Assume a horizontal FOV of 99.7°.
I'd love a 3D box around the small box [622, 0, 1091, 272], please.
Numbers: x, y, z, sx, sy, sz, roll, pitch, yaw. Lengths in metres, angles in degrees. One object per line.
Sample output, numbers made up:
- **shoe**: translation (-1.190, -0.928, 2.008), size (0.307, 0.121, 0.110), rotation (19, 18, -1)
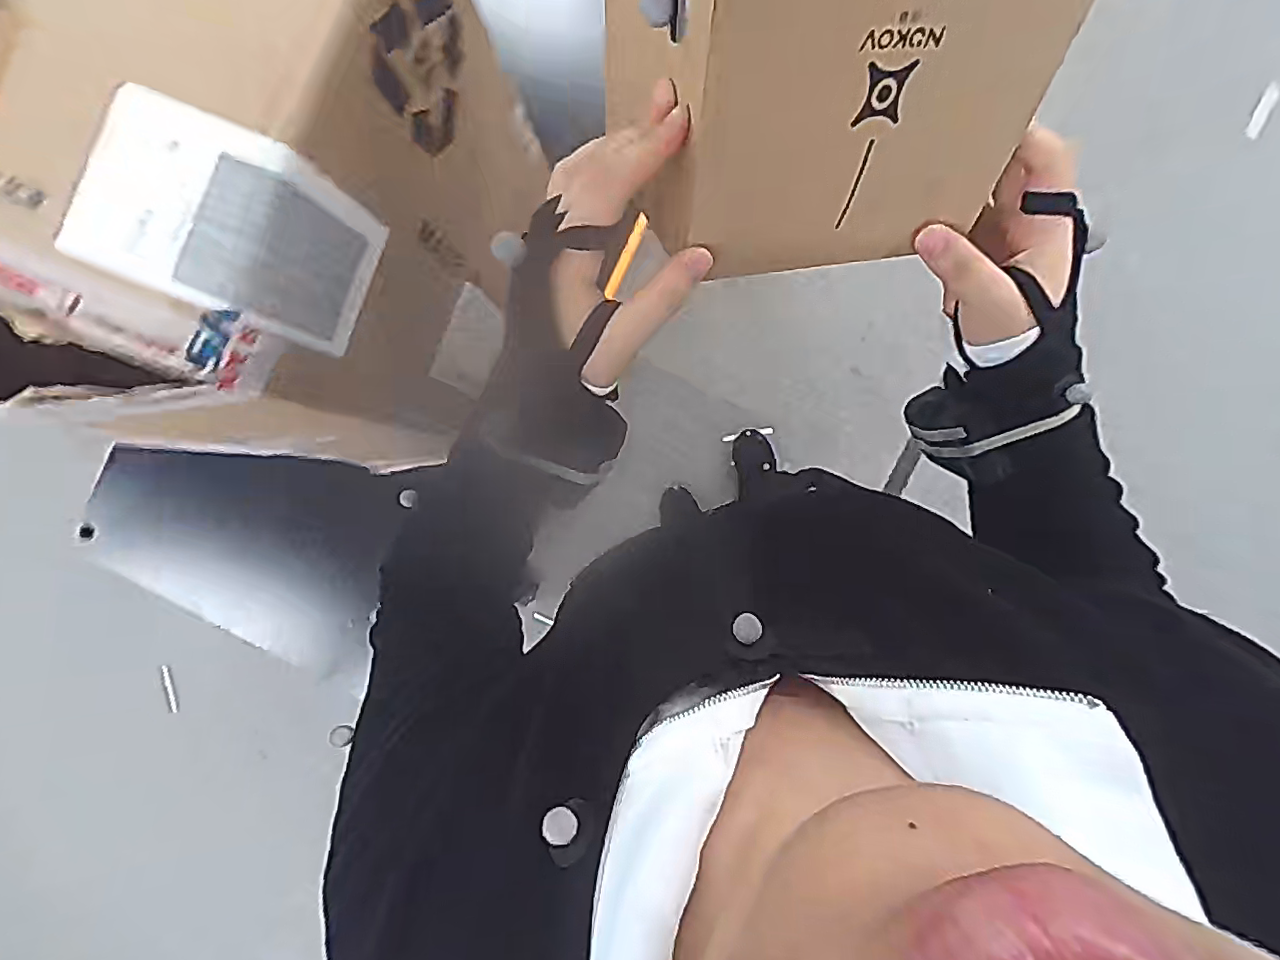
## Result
- **small box**: translation (0.088, -0.236, 0.276), size (0.168, 0.179, 0.176), rotation (-10, 53, -11)
